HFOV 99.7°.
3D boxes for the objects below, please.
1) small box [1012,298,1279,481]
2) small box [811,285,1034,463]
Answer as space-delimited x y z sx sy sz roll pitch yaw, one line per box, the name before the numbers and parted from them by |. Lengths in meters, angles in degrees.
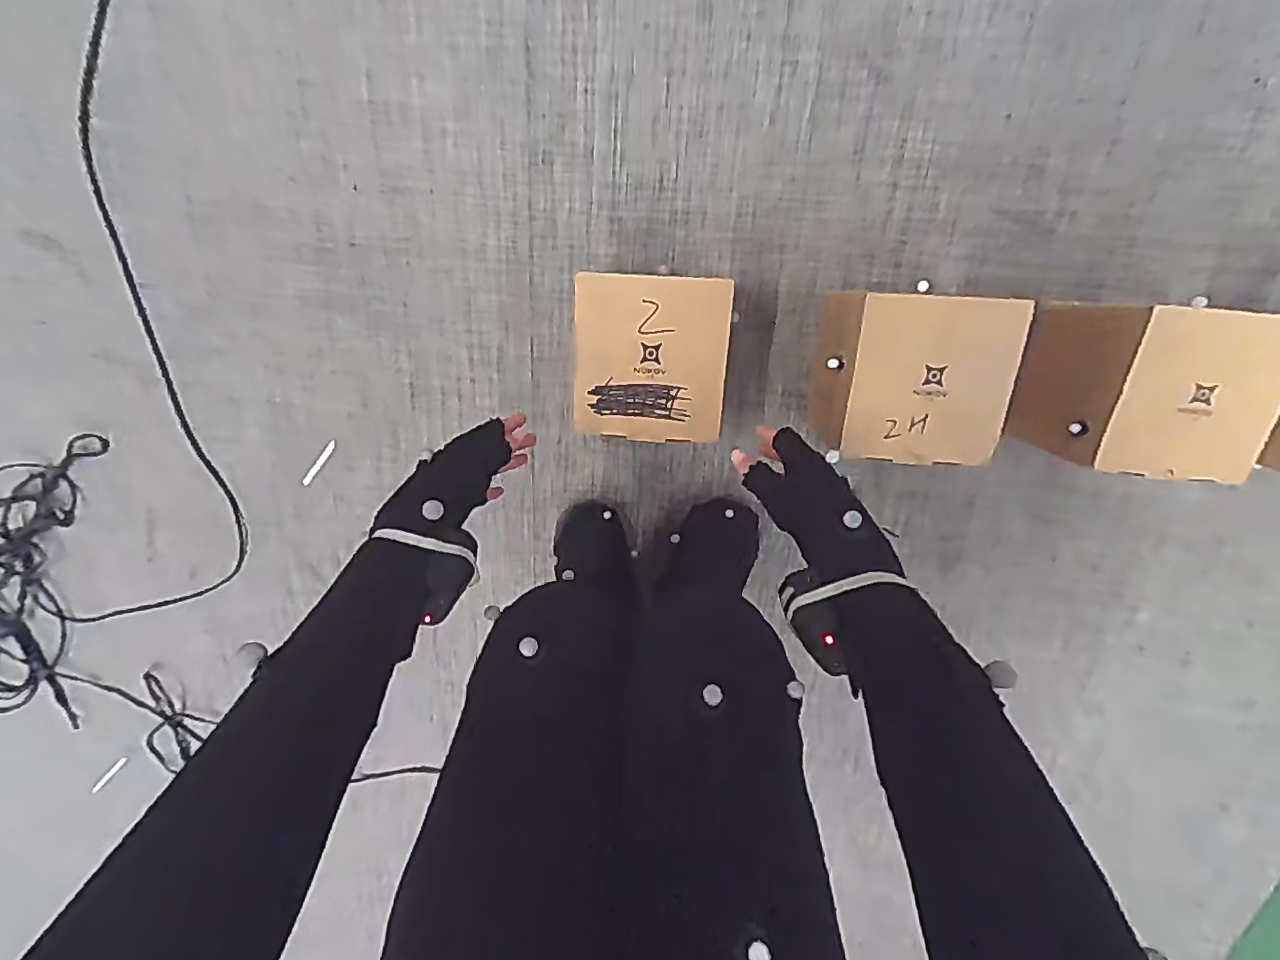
small box | 0.576 -0.114 0.626 0.168 0.176 0.179 5 110 2
small box | 0.309 -0.132 0.637 0.168 0.176 0.179 4 110 5
